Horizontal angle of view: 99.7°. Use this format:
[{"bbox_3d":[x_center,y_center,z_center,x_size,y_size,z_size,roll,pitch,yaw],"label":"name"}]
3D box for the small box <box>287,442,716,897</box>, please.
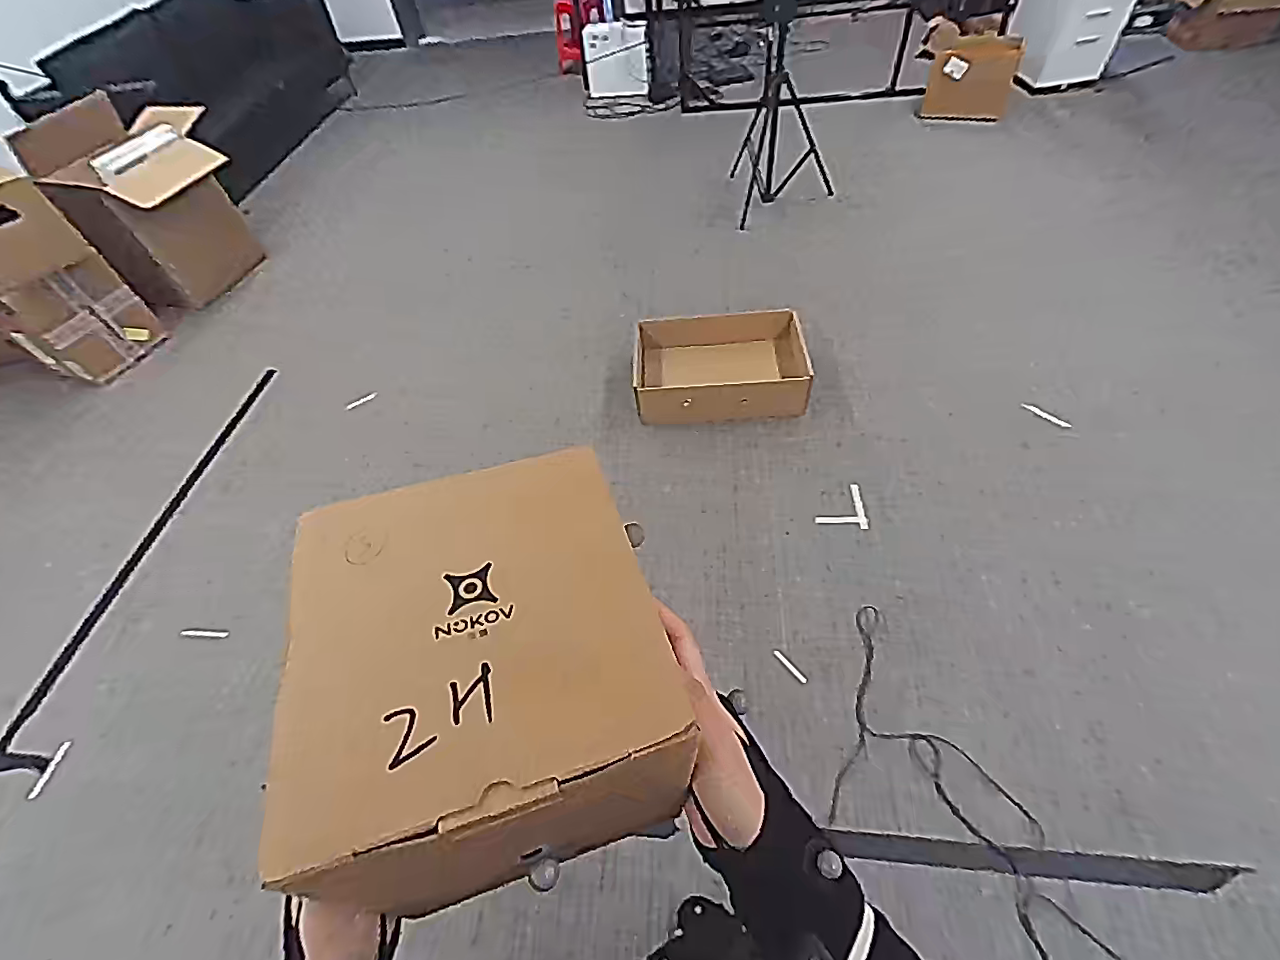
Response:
[{"bbox_3d":[-0.072,0.108,0.318,0.168,0.176,0.179,-14,50,-12],"label":"small box"}]
